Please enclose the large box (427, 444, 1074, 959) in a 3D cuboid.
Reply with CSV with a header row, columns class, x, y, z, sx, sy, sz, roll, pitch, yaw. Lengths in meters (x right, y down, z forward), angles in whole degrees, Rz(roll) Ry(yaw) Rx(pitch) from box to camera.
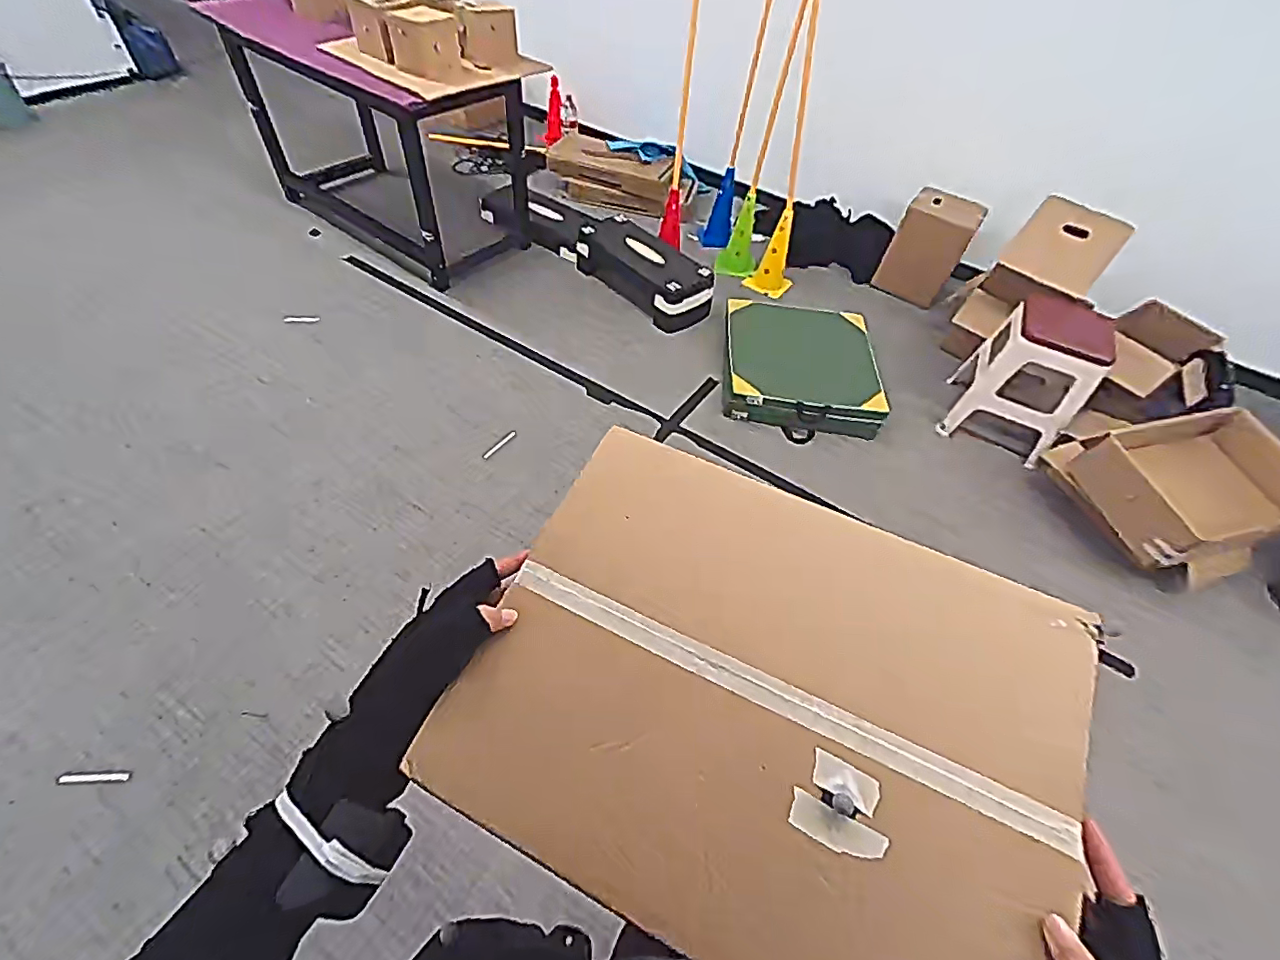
class,x,y,z,sx,sy,sz,roll,pitch,yaw
large box,0.093,0.228,0.525,0.408,0.320,0.320,23,64,14
